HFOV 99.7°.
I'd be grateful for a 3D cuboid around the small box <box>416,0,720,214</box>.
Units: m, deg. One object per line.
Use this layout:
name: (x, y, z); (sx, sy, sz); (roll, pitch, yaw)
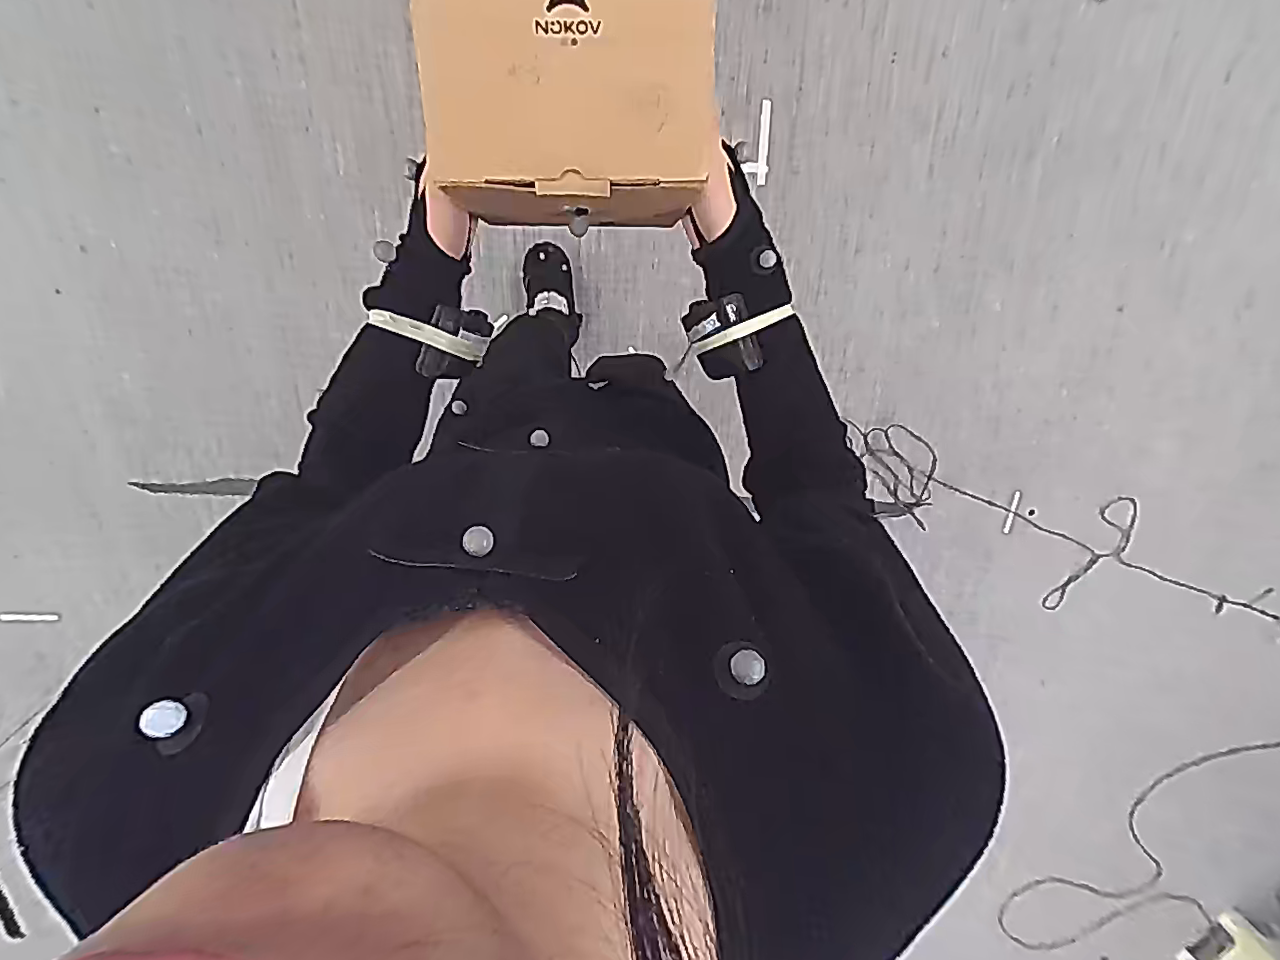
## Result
small box: (-0.043, -0.285, 0.364); (0.168, 0.176, 0.179); (-2, 109, -5)
